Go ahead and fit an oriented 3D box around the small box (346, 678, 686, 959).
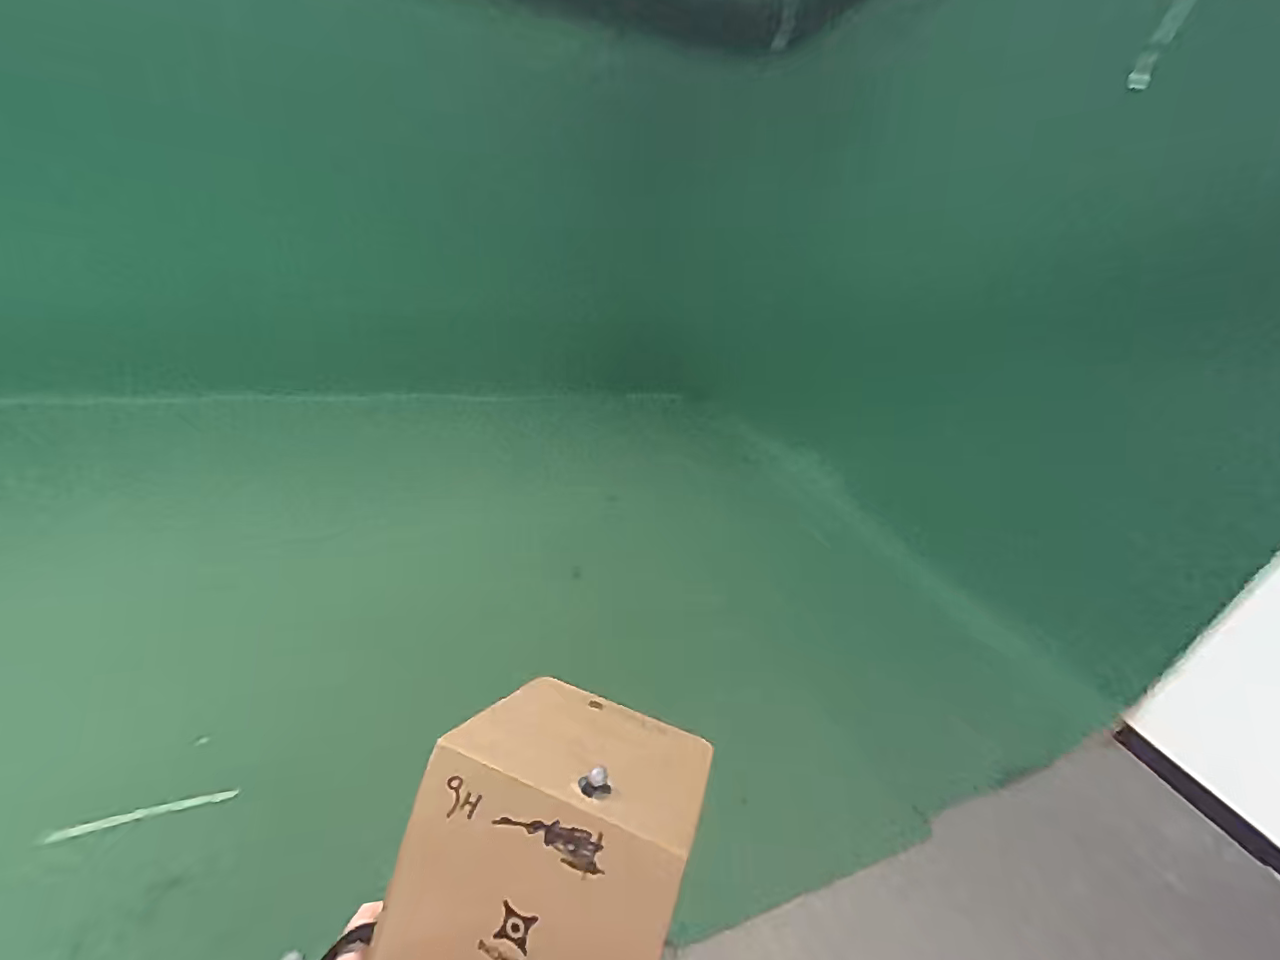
[{"bbox_3d":[-0.073,0.274,0.396,0.168,0.179,0.176,16,-1,14],"label":"small box"}]
